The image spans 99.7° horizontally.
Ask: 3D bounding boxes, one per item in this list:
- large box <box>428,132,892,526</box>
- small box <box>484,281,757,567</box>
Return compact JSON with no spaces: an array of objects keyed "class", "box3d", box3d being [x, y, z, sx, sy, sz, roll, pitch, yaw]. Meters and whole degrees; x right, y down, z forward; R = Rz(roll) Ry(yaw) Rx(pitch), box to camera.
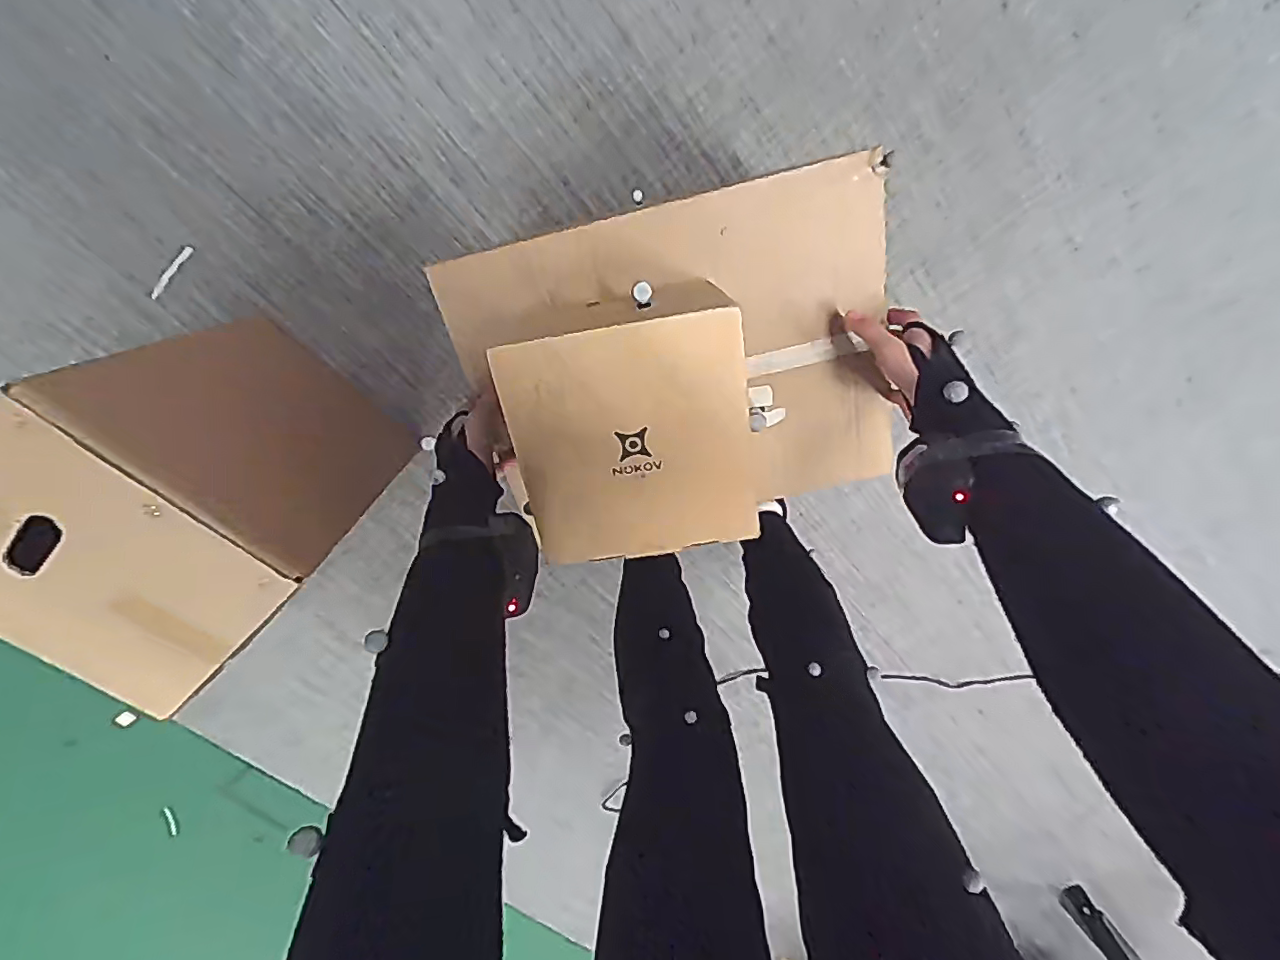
[{"class":"large box","box3d":[0.033,-0.171,0.658,0.408,0.320,0.320,-13,117,5]},{"class":"small box","box3d":[-0.008,-0.057,0.441,0.168,0.176,0.179,-9,116,4]}]
